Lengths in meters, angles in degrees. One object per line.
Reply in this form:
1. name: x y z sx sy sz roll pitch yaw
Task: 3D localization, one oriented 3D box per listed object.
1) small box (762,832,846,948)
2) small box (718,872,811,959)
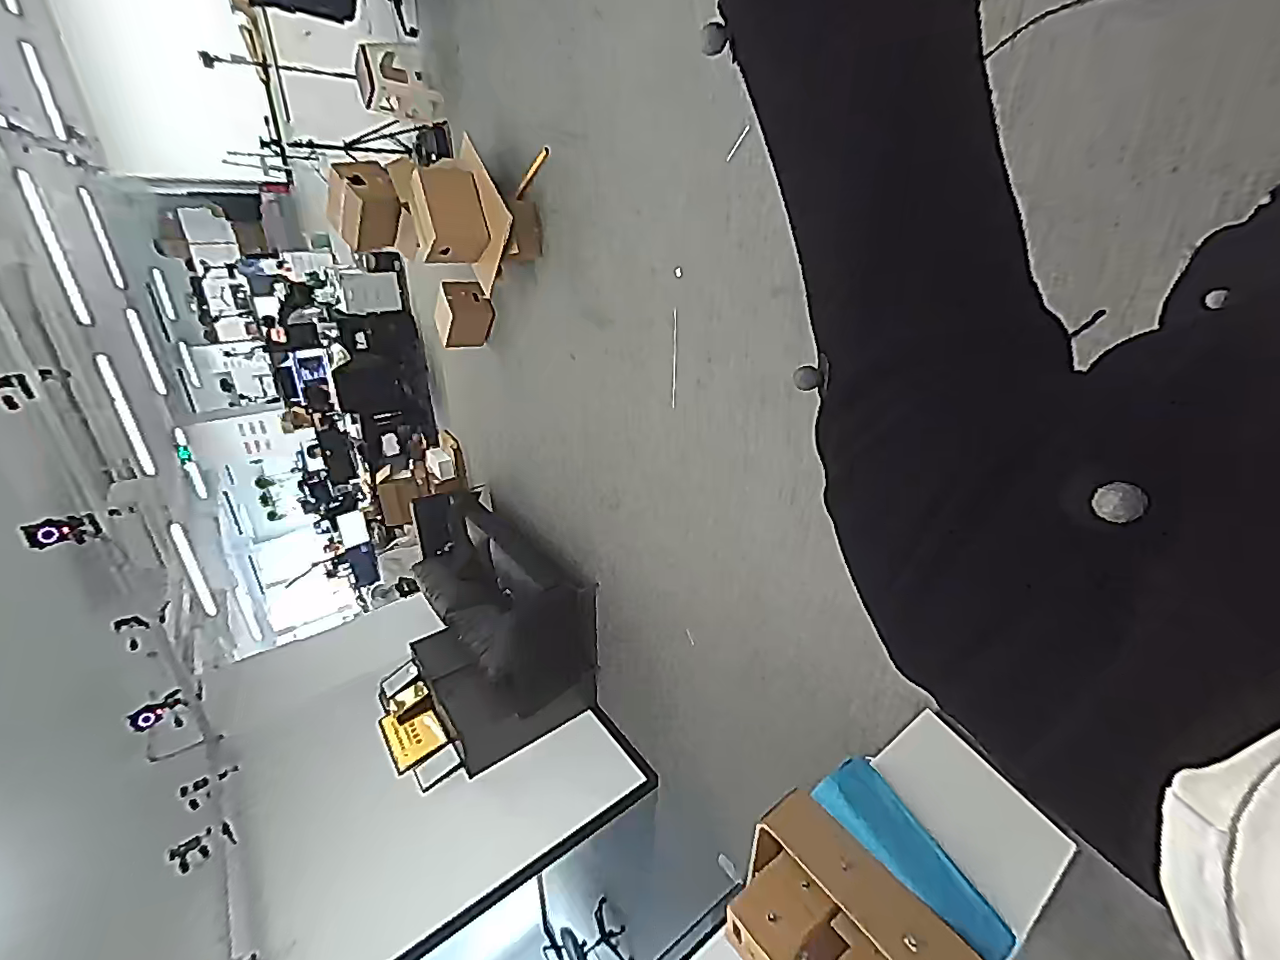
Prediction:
1. small box: 0.472 1.186 1.576 0.179 0.176 0.168 33 132 44
2. small box: 0.340 1.233 1.490 0.179 0.176 0.168 31 131 44
